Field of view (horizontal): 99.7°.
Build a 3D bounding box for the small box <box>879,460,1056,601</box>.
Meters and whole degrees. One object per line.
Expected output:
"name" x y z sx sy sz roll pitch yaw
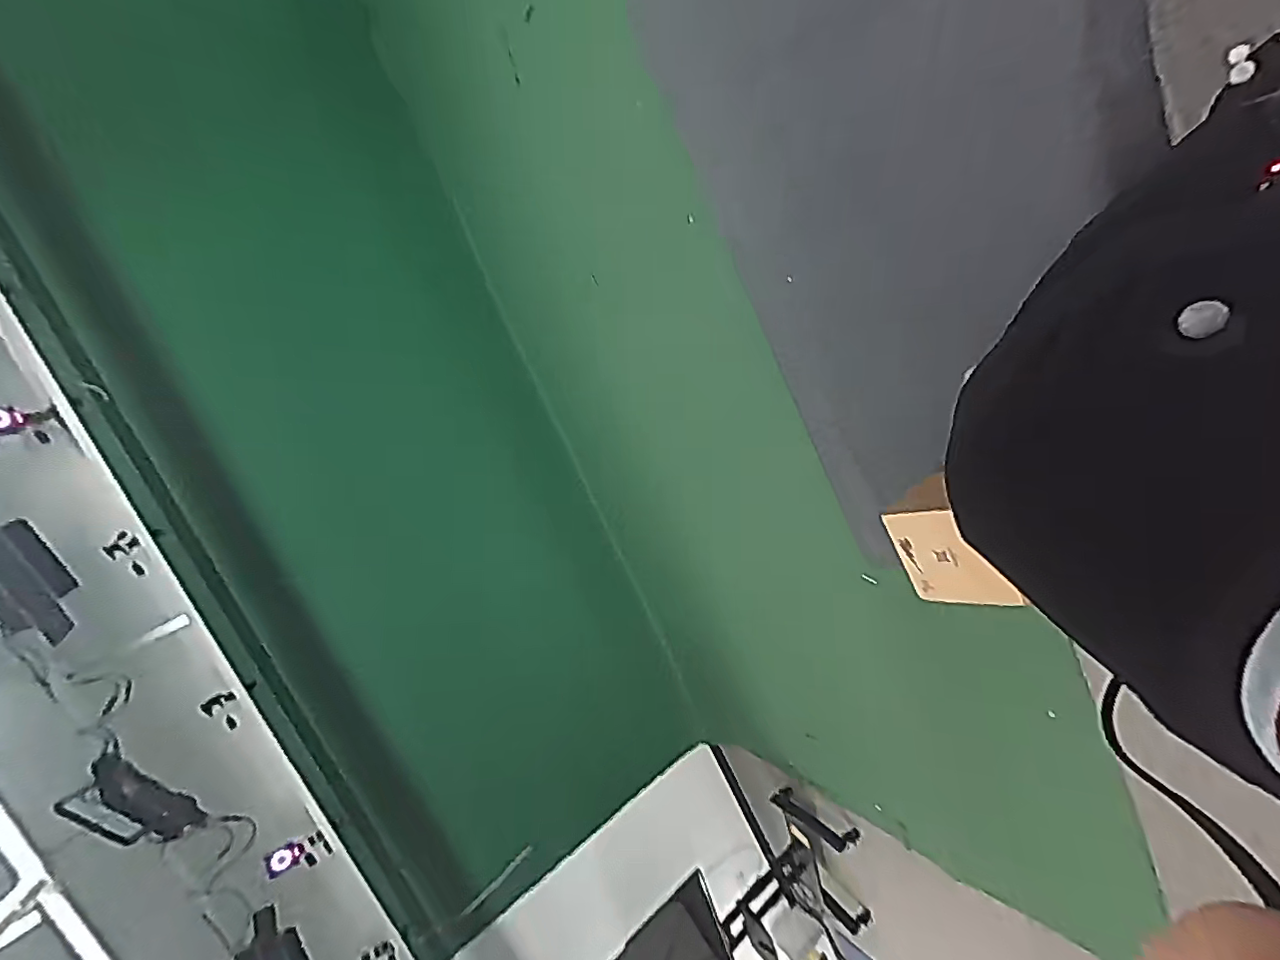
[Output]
"small box" 0.542 0.081 0.888 0.168 0.176 0.179 63 152 -5
